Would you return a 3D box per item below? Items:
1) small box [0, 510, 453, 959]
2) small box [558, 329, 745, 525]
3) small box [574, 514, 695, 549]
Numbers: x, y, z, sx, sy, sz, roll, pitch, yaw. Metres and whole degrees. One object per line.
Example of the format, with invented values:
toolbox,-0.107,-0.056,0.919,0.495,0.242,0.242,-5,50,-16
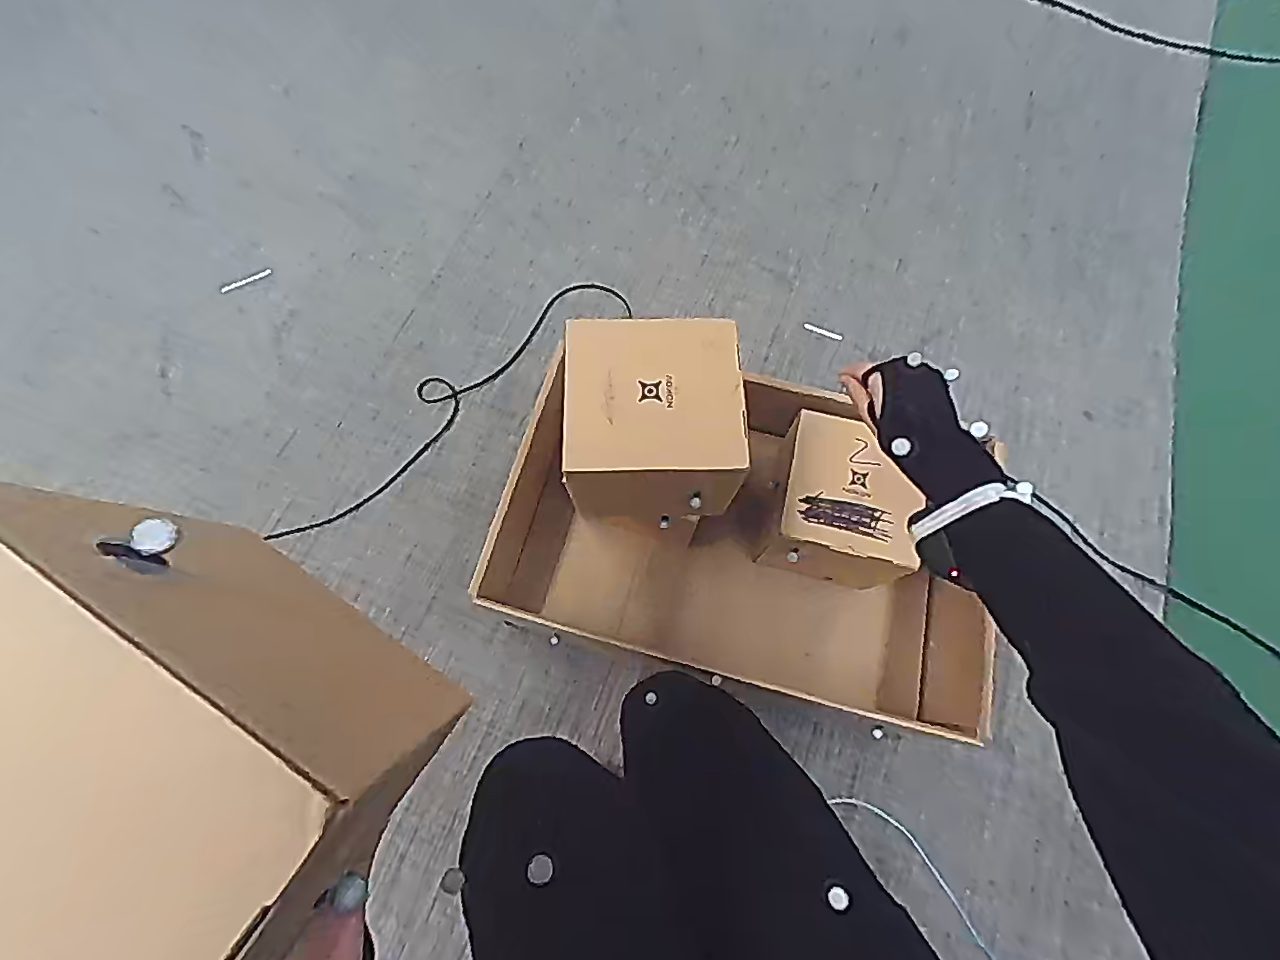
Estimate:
small box,-0.214,0.136,0.228,0.179,0.176,0.168,35,78,3
small box,0.009,-0.049,0.599,0.179,0.176,0.168,-1,71,0
small box,0.004,-0.013,0.759,0.179,0.176,0.168,16,72,3
